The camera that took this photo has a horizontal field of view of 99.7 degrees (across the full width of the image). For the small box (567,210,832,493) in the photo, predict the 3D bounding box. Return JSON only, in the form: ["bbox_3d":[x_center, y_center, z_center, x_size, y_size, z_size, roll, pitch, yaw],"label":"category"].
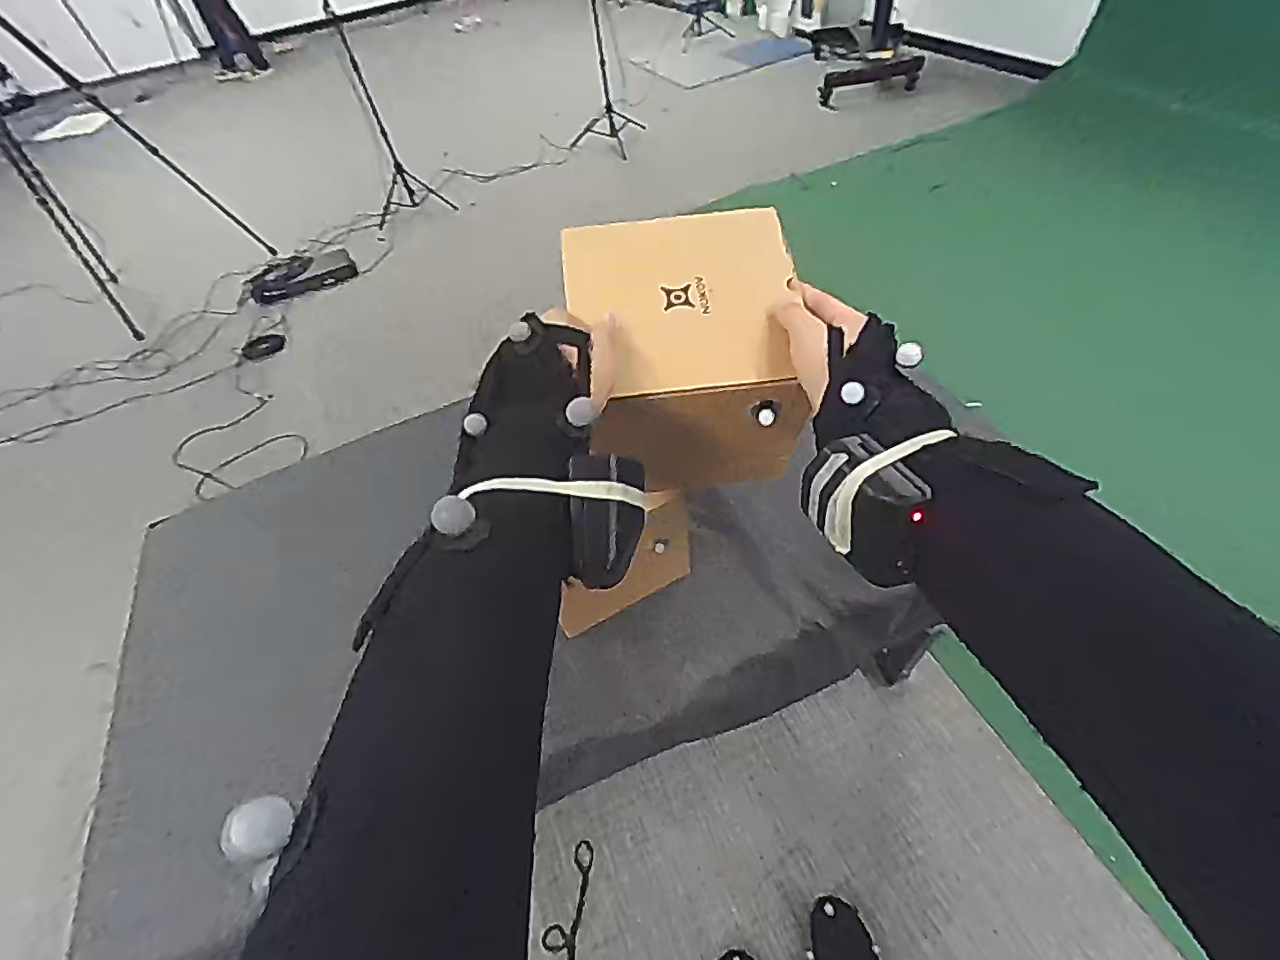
[{"bbox_3d":[0.039,-0.098,0.467,0.179,0.176,0.168,-6,65,-2],"label":"small box"}]
